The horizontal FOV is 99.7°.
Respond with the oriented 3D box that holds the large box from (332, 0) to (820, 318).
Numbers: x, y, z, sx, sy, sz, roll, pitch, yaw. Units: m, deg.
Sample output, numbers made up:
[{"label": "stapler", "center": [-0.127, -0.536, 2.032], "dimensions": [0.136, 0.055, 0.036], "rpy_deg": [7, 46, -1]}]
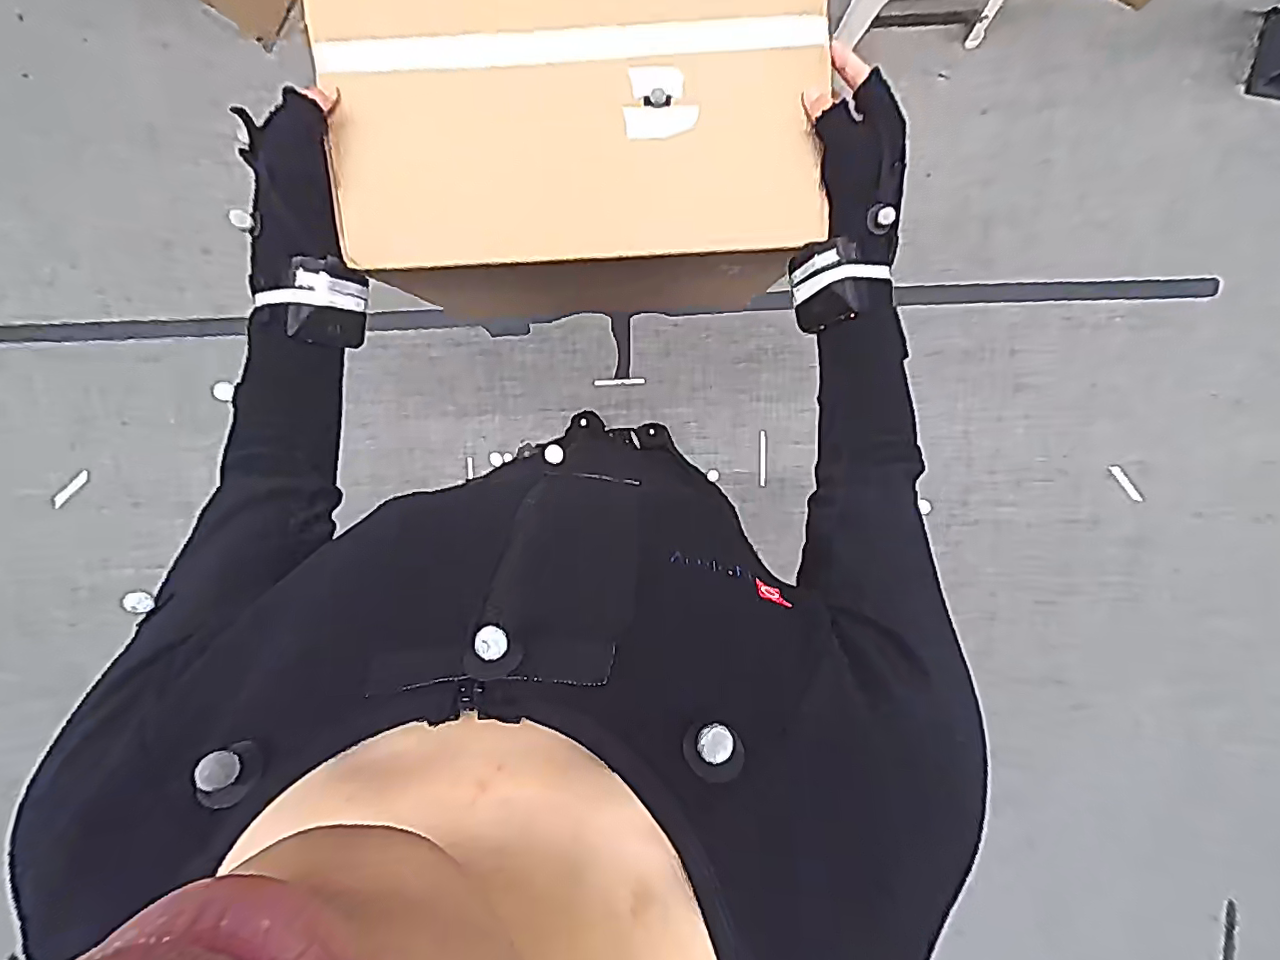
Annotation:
[{"label": "large box", "center": [-0.054, -0.368, 0.594], "dimensions": [0.408, 0.320, 0.320], "rpy_deg": [-3, 100, -1]}]
